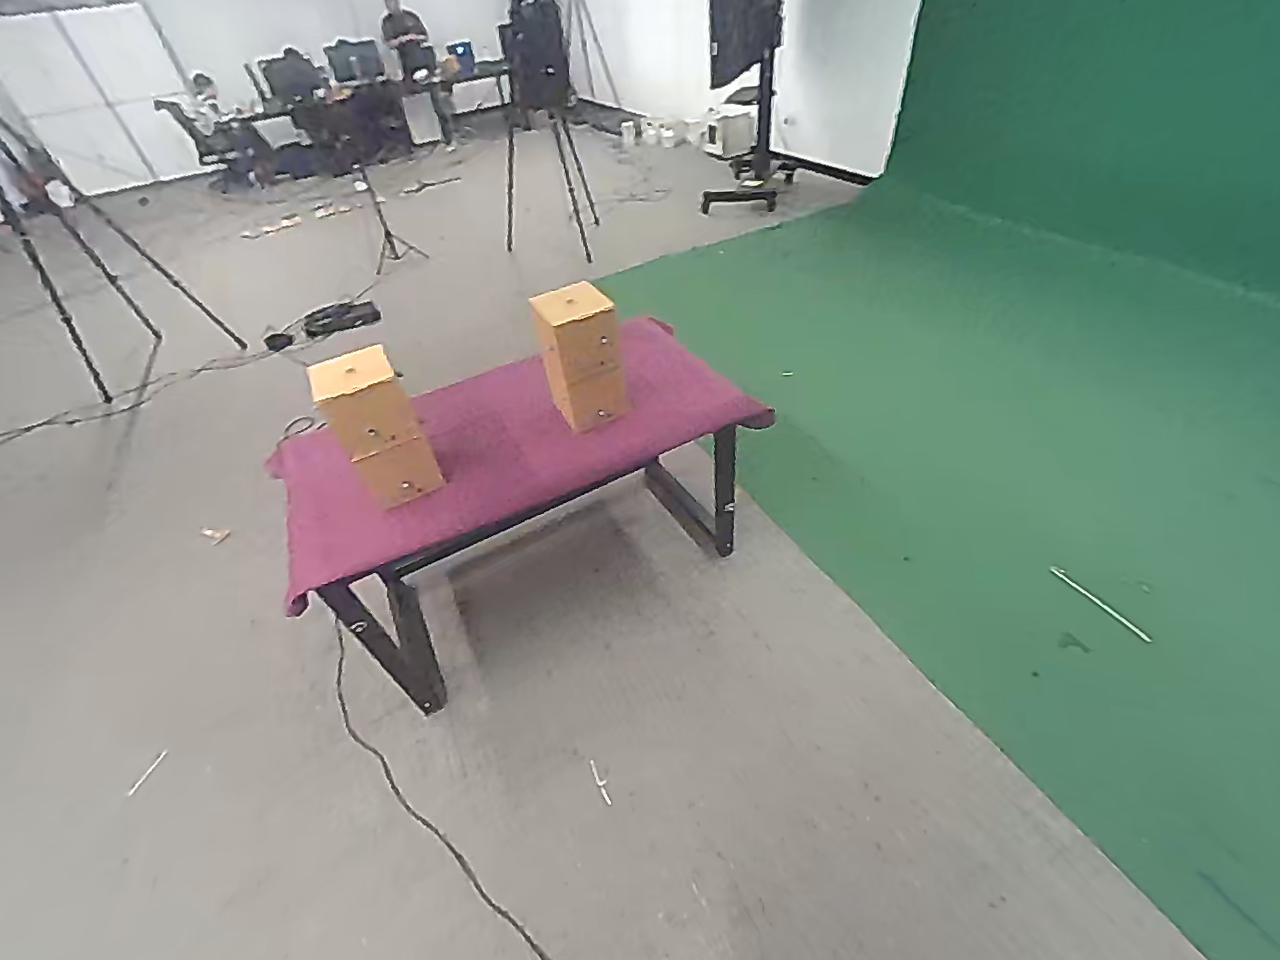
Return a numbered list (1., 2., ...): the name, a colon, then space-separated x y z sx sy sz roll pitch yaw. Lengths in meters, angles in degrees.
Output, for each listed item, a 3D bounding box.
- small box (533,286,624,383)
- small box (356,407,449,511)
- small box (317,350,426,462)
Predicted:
1. small box: -0.154 -0.369 1.393 0.168 0.176 0.179 -24 46 -16
2. small box: -0.605 -0.054 1.369 0.168 0.176 0.179 -24 46 -16
3. small box: -0.621 -0.172 1.258 0.168 0.176 0.179 -24 46 -17
